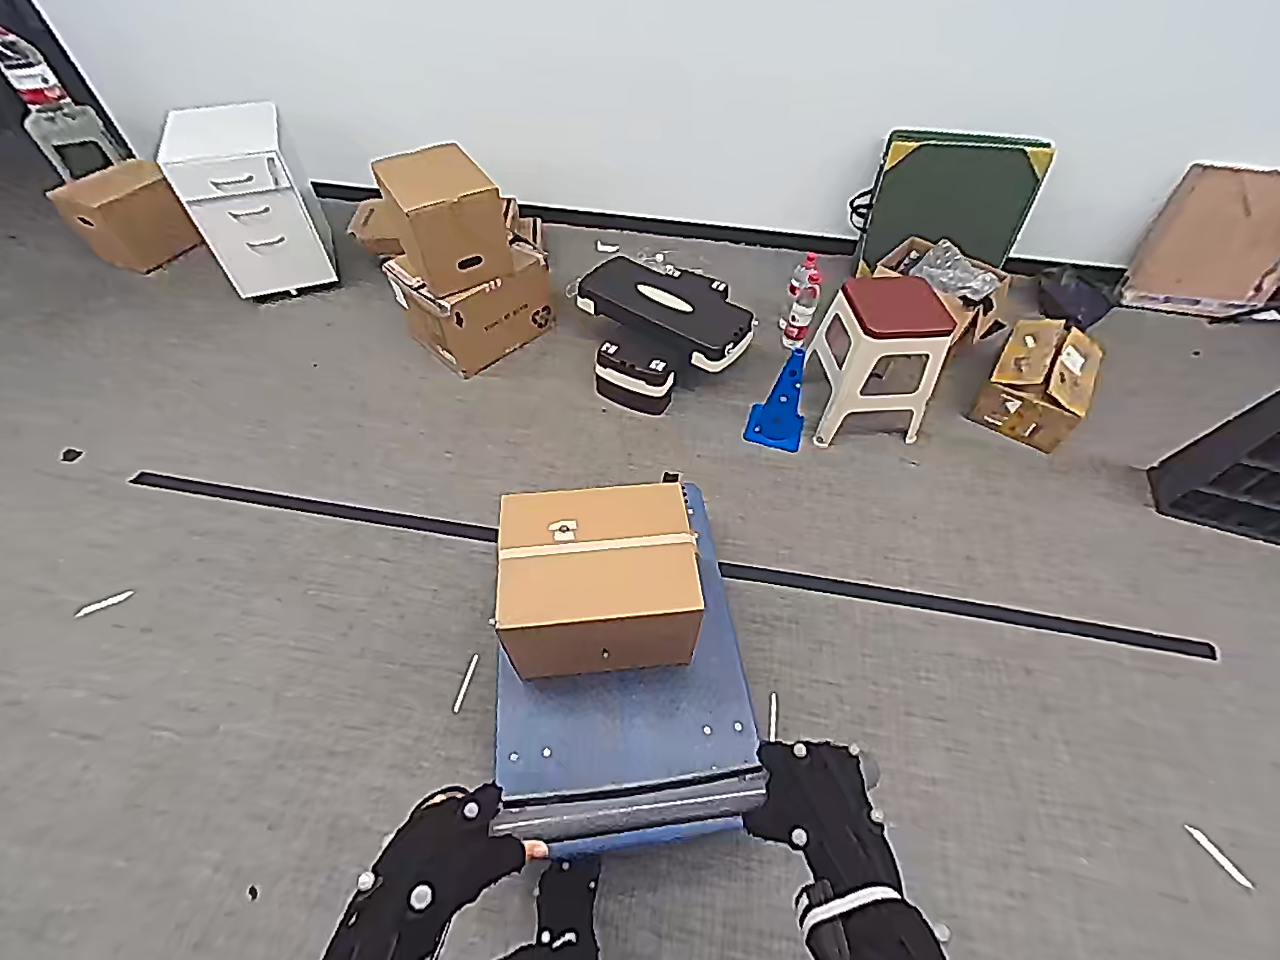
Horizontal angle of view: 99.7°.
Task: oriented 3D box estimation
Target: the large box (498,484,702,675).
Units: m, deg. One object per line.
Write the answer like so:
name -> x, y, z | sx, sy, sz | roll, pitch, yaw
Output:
large box -> -0.092, 0.236, 1.249 | 0.408, 0.320, 0.320 | -4, 53, -4
